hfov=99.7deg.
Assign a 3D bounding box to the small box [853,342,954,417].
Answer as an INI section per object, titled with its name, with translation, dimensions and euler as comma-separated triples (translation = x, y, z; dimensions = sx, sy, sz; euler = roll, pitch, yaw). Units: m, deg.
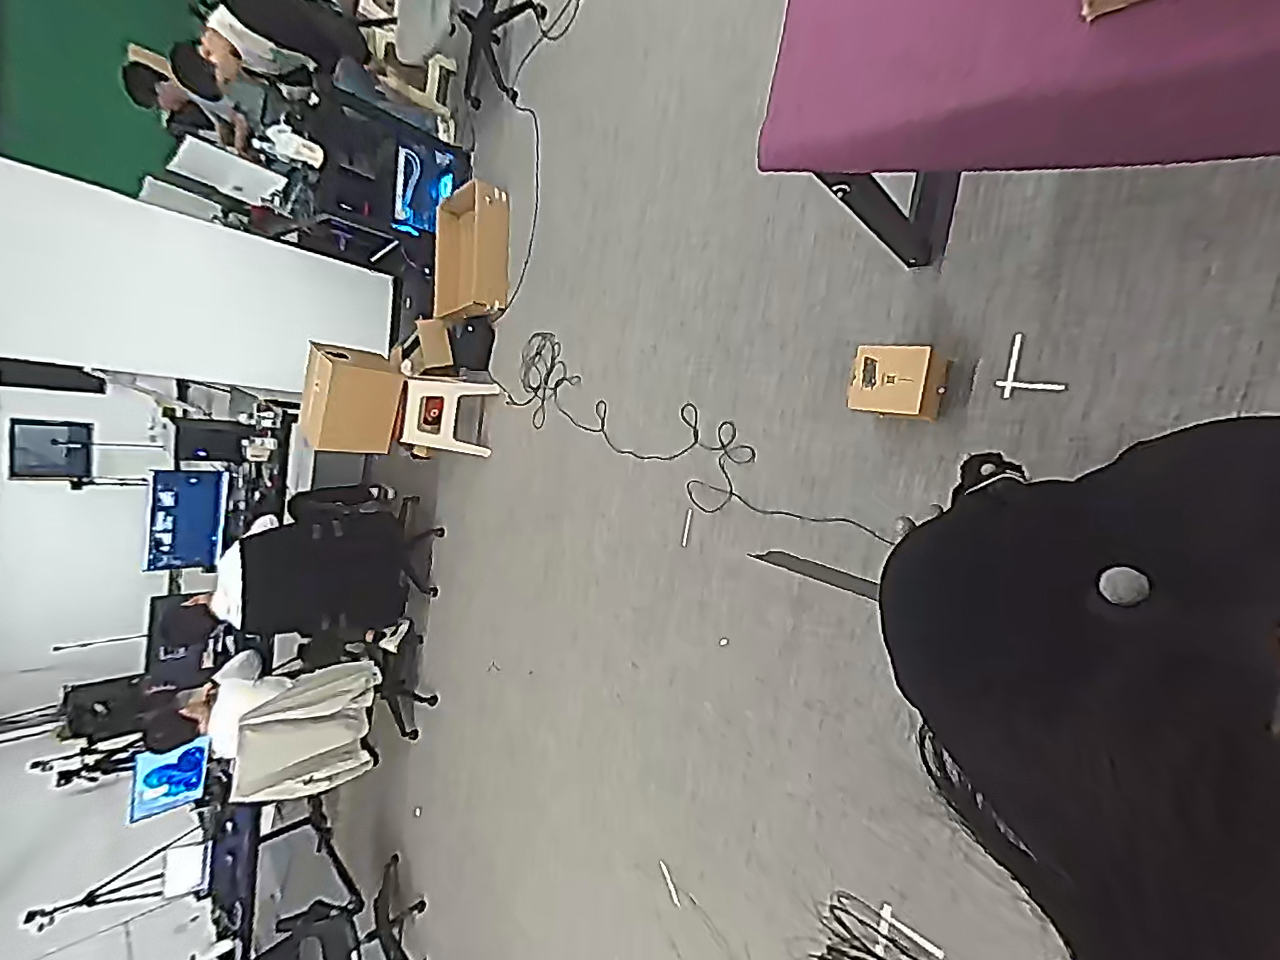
[small box]
translation = 0.674, -0.254, 1.381
dimensions = 0.179, 0.176, 0.168
euler = 13, 99, 41
